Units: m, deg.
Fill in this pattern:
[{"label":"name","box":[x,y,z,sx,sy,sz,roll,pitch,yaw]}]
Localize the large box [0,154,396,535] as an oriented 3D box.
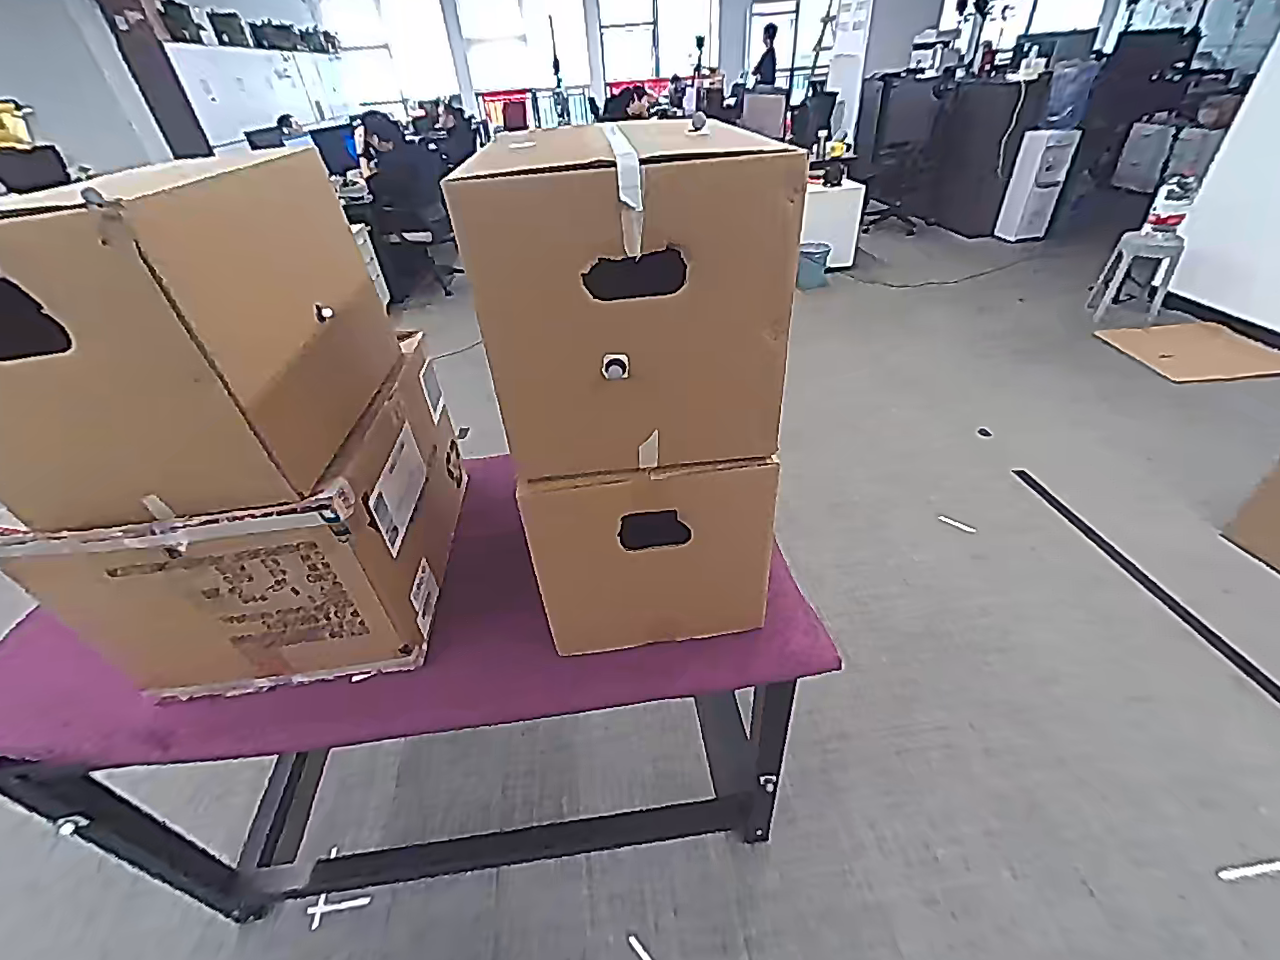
[{"label":"large box","box":[-0.559,-0.192,0.684,0.320,0.320,0.408,-10,38,1]}]
